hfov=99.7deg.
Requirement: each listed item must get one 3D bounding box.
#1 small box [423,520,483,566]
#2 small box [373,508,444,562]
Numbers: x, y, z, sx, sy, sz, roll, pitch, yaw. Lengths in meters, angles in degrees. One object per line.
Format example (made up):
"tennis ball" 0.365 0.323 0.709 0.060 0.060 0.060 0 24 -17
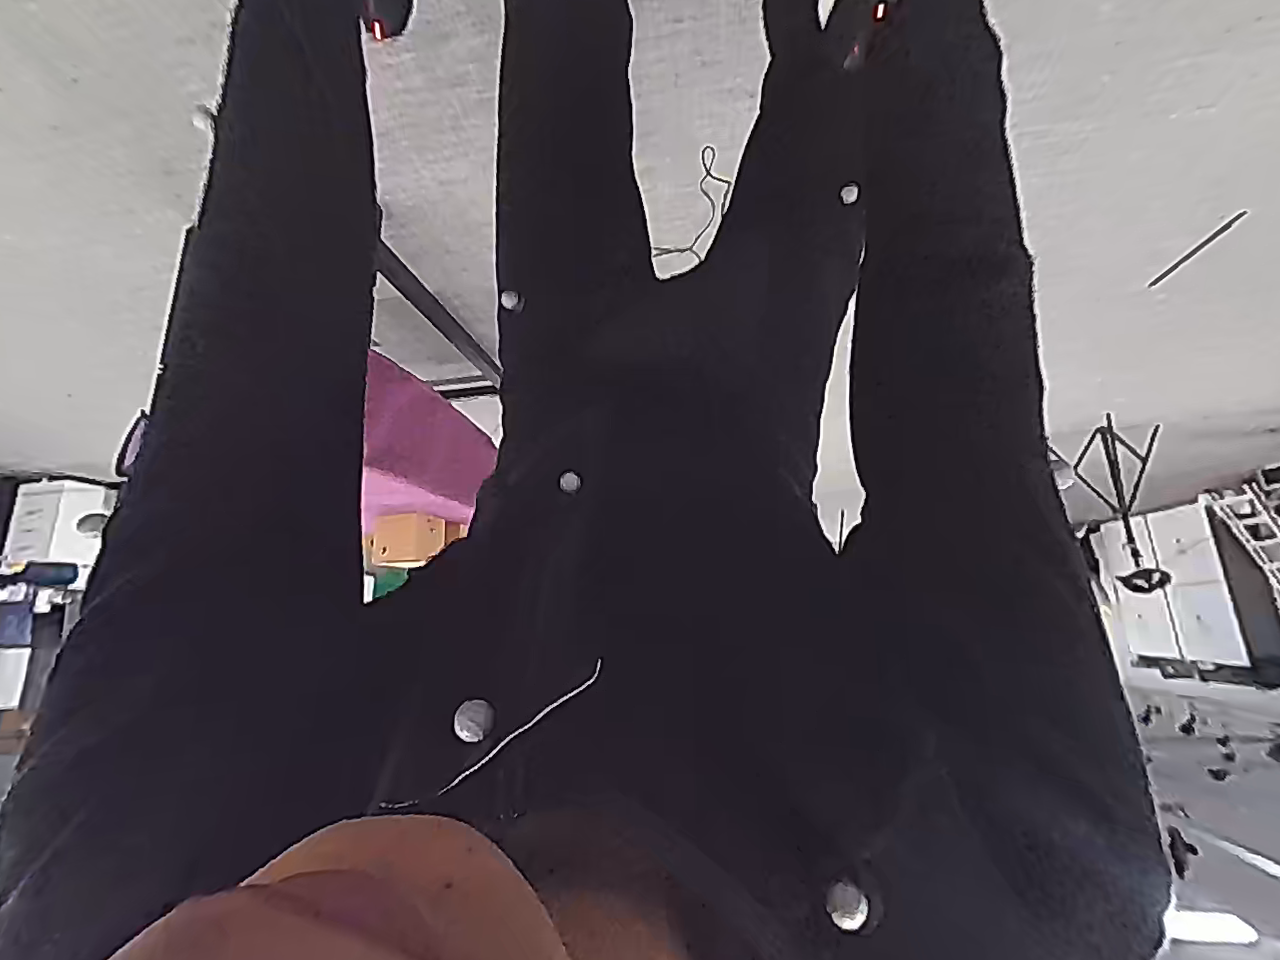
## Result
"small box" -0.750 0.255 2.178 0.179 0.176 0.168 -5 166 17
"small box" -0.822 0.200 1.937 0.179 0.176 0.168 -5 167 12
